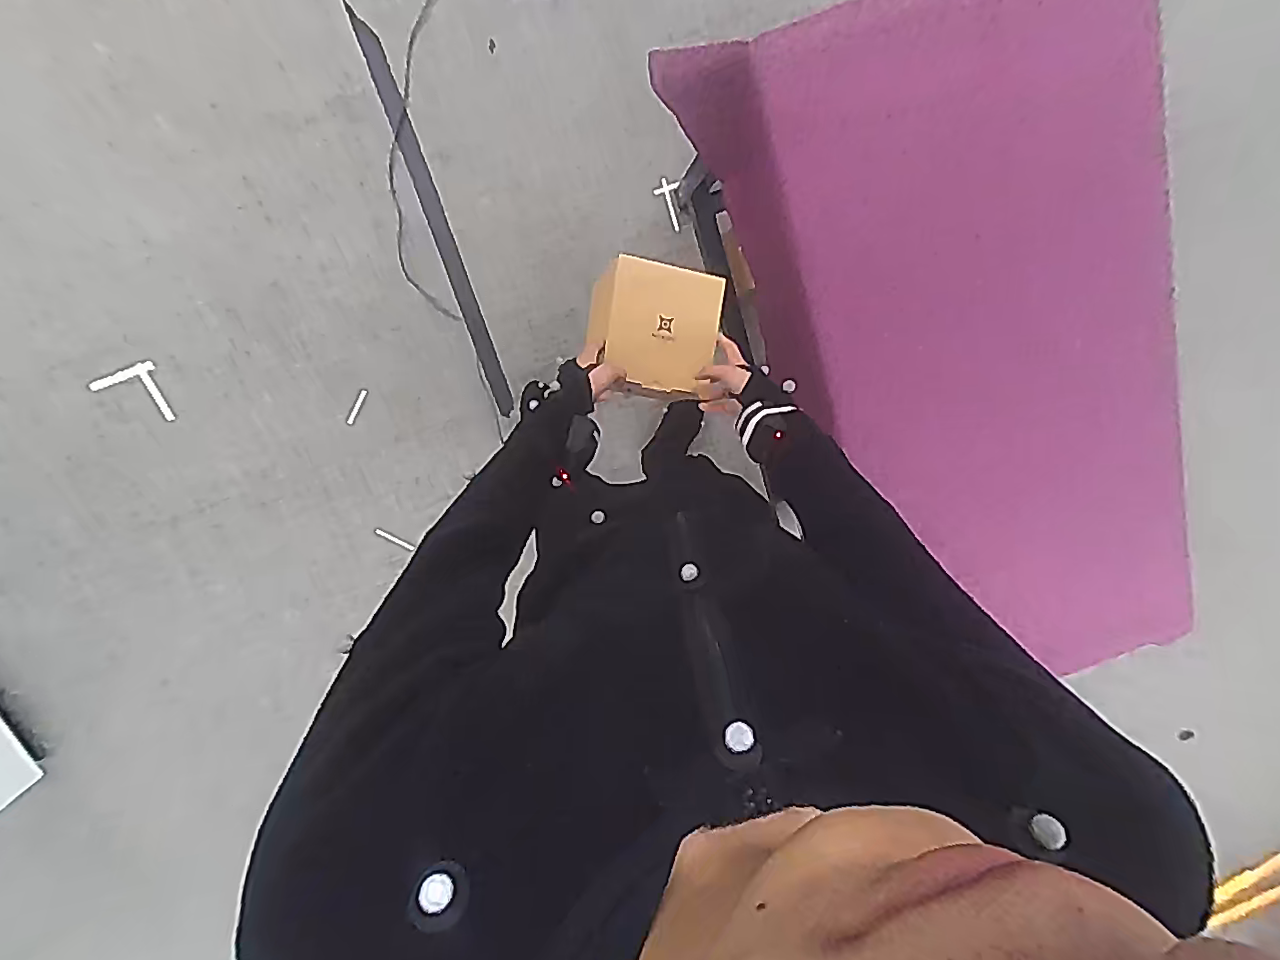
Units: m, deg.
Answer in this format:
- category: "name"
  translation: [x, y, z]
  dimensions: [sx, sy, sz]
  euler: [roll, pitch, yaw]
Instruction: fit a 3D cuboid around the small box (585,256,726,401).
- category: "small box"
  translation: [0.014, -0.224, 0.847]
  dimensions: [0.168, 0.176, 0.179]
  euler: [7, 95, -17]
